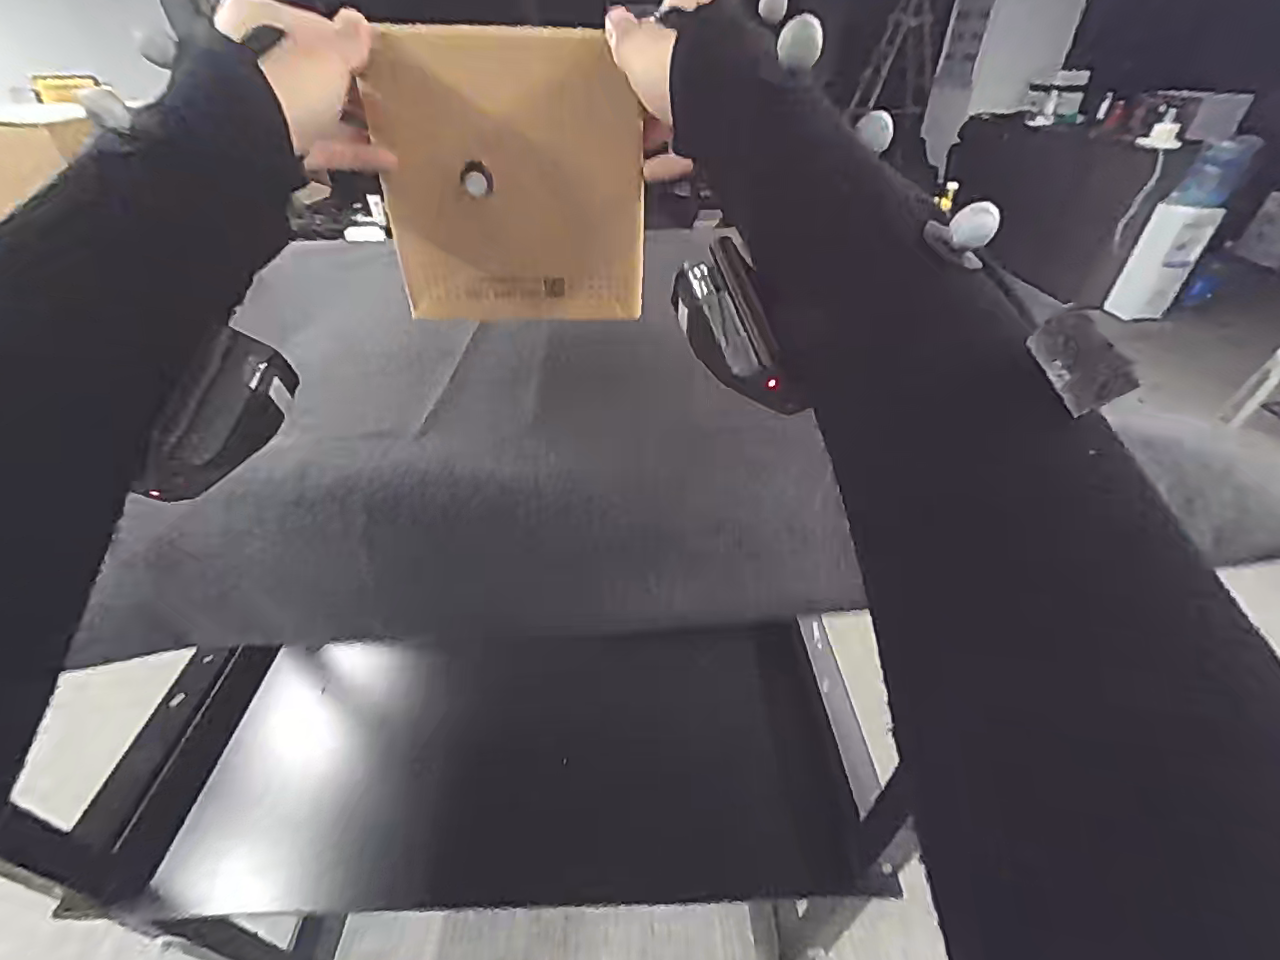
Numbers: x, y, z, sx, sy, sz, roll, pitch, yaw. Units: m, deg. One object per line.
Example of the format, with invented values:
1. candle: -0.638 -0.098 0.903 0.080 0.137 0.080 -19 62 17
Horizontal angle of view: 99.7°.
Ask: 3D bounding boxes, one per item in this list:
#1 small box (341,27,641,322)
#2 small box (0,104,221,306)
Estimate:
1. small box: -0.085 -0.227 0.407 0.168 0.176 0.179 -2 37 -3
2. small box: -0.620 -0.301 0.595 0.179 0.176 0.168 -2 39 -3
